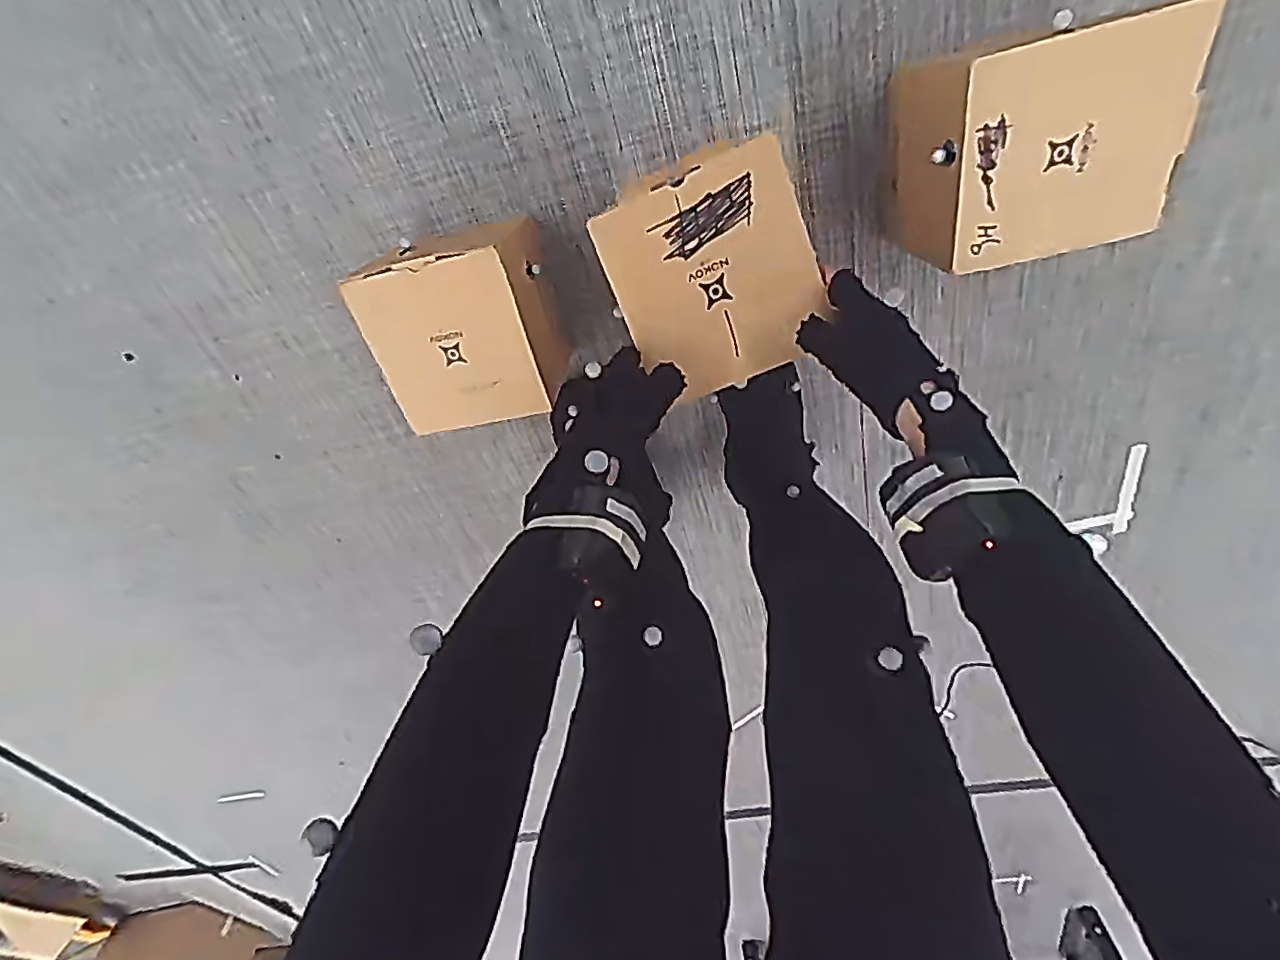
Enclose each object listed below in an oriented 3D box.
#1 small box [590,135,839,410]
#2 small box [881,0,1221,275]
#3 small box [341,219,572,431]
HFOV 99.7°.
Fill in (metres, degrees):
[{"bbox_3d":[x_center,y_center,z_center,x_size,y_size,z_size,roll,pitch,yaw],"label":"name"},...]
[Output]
[{"bbox_3d":[0.071,-0.183,0.527,0.168,0.176,0.179,-20,101,12],"label":"small box"},{"bbox_3d":[0.350,-0.315,0.508,0.179,0.176,0.168,-10,124,7],"label":"small box"},{"bbox_3d":[-0.187,-0.182,0.614,0.168,0.176,0.179,-9,125,10],"label":"small box"}]
